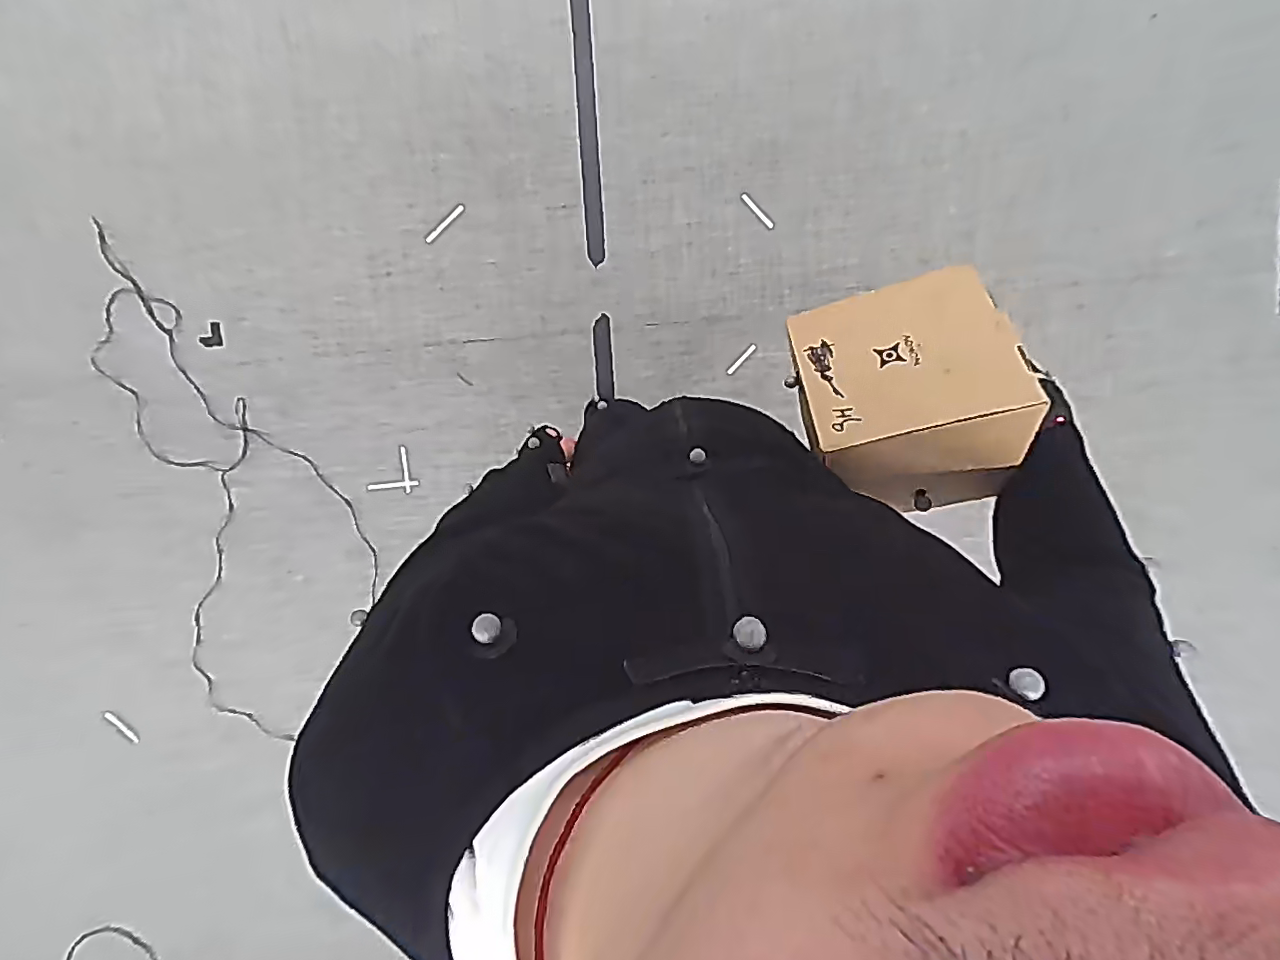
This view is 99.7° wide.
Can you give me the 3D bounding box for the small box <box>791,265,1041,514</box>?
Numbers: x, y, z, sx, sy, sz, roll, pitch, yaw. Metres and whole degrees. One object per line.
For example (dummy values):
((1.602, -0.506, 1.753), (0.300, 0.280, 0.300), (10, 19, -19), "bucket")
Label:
((0.266, -0.082, 0.563), (0.179, 0.176, 0.168), (-13, 58, 16), "small box")
